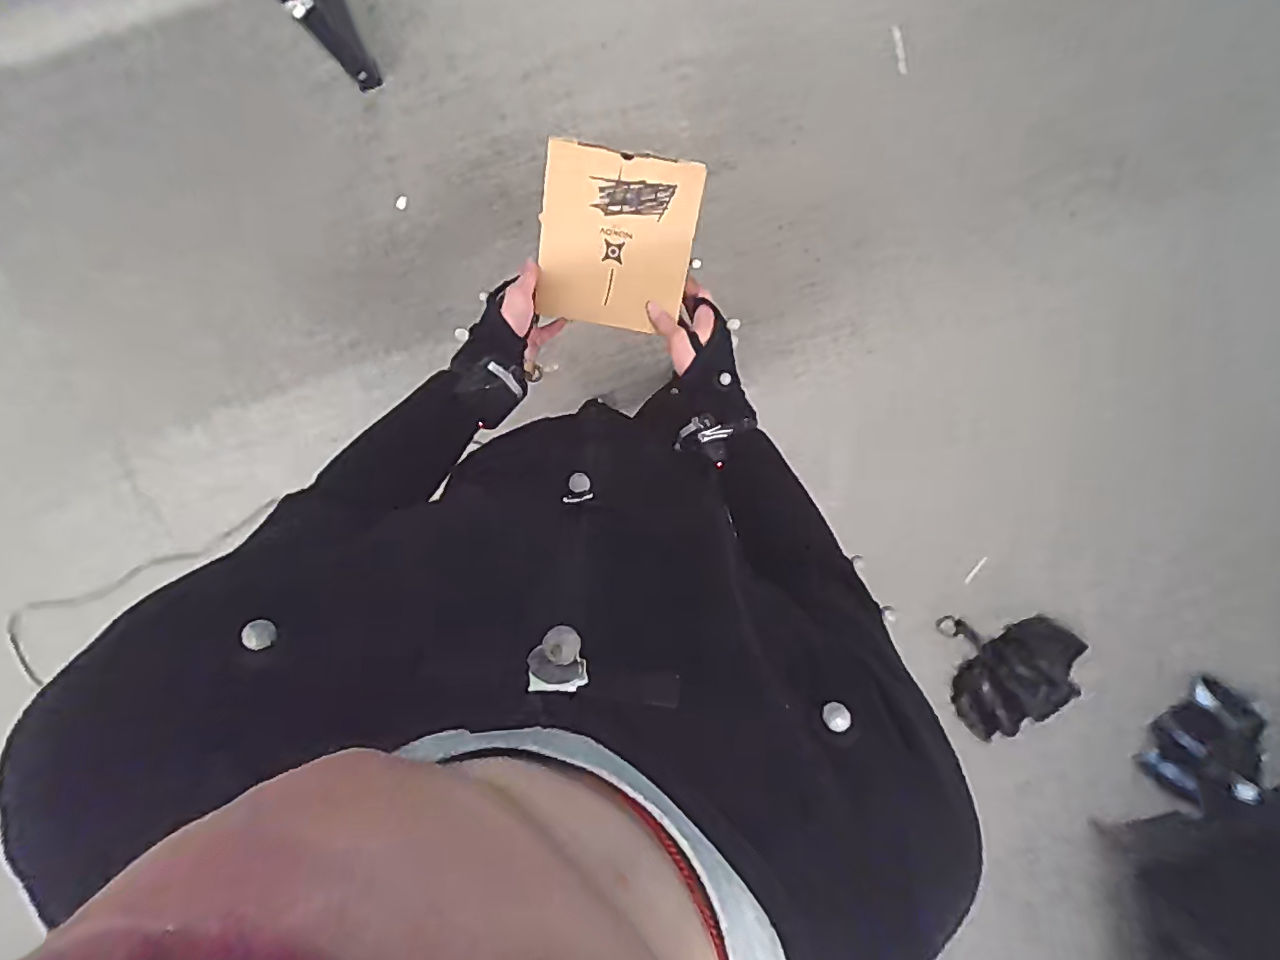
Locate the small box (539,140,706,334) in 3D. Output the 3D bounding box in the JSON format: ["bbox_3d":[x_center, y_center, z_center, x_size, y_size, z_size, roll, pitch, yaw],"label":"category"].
[{"bbox_3d":[-0.020,-0.291,0.661,0.168,0.176,0.179,9,115,0],"label":"small box"}]
